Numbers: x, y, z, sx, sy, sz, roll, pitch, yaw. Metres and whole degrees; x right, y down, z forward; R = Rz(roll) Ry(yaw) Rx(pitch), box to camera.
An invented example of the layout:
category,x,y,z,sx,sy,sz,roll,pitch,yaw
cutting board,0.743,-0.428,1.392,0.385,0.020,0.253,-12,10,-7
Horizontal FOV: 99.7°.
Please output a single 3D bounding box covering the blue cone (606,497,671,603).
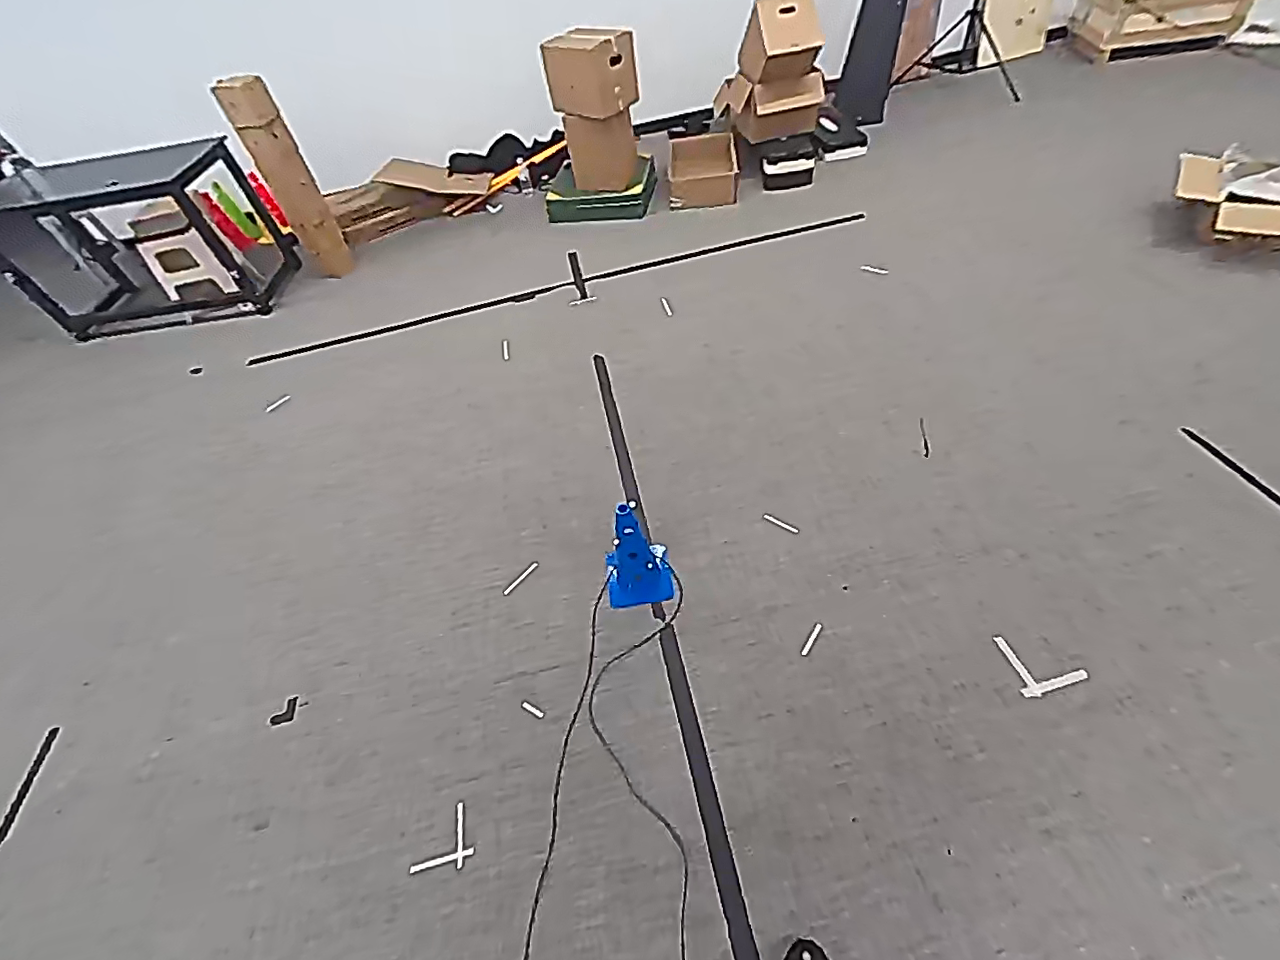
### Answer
category,x,y,z,sx,sy,sz,roll,pitch,yaw
blue cone,-0.027,0.183,1.549,0.193,0.380,0.192,-12,50,0
